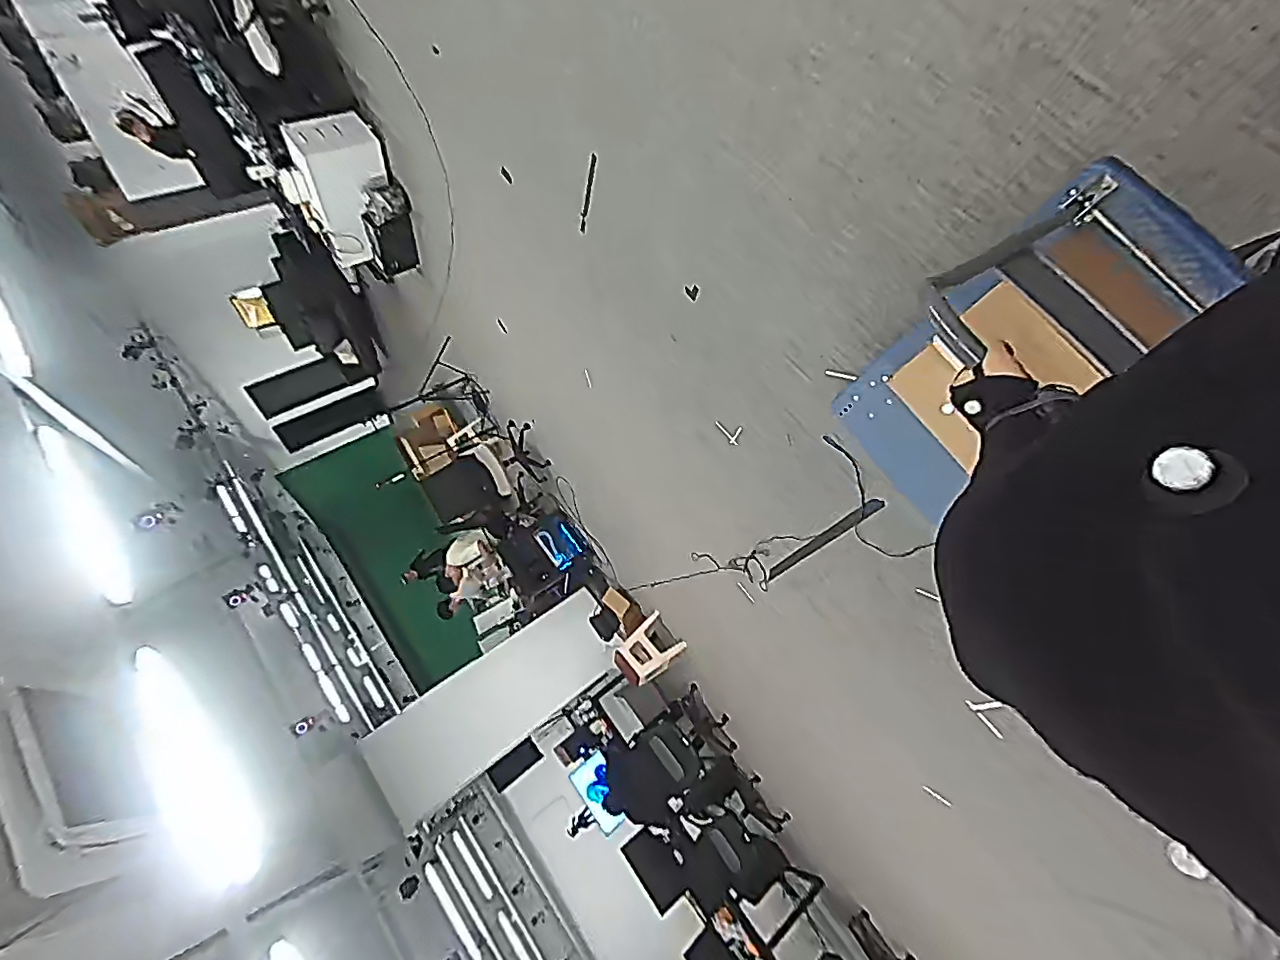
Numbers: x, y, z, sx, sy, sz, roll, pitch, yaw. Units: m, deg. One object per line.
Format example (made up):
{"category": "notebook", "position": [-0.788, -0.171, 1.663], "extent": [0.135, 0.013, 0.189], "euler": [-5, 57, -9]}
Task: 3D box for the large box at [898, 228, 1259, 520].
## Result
{"category": "large box", "position": [0.823, -0.200, 1.057], "extent": [0.408, 0.320, 0.320], "euler": [54, 154, 12]}
